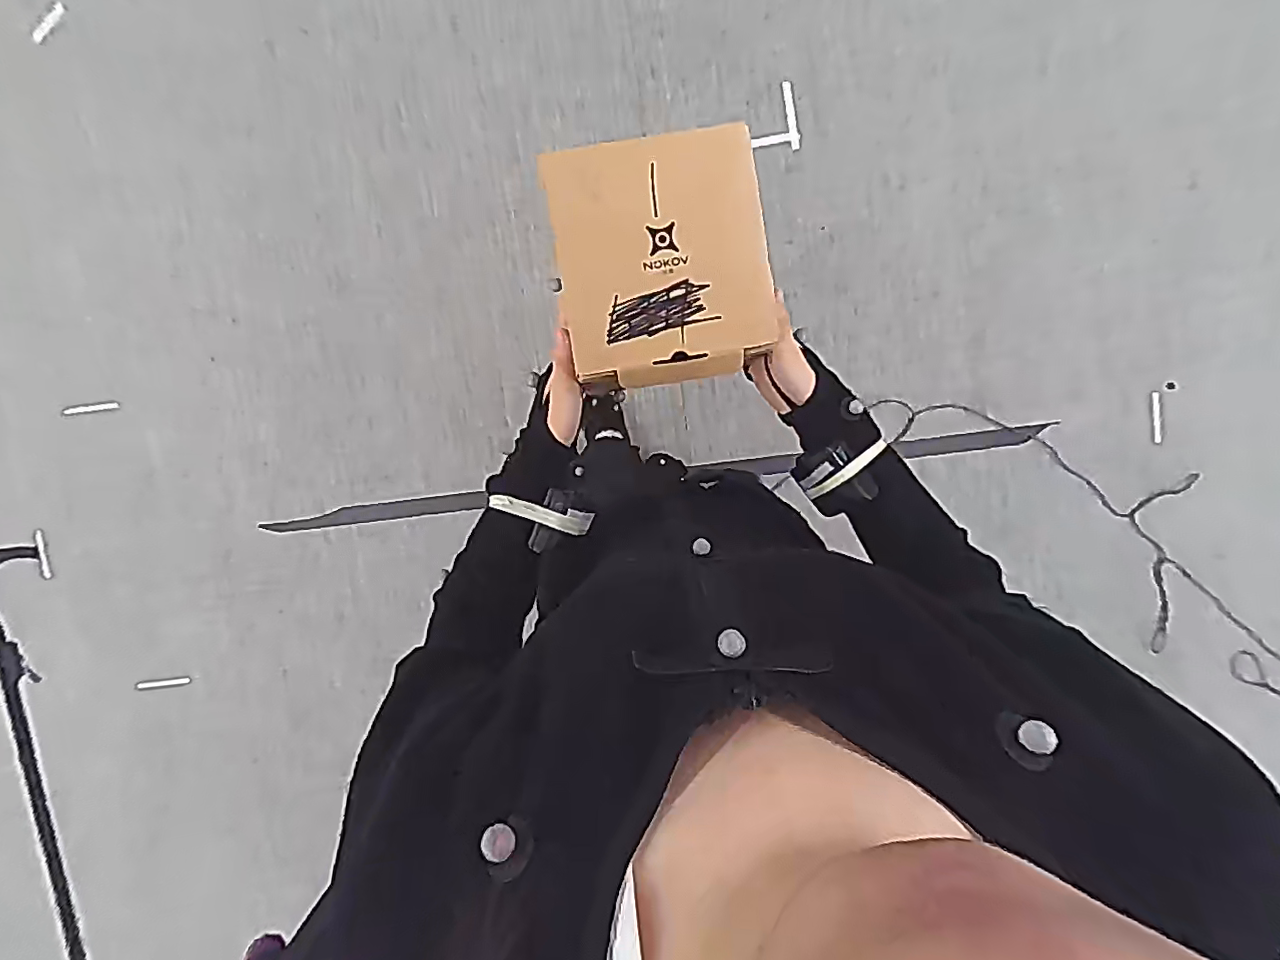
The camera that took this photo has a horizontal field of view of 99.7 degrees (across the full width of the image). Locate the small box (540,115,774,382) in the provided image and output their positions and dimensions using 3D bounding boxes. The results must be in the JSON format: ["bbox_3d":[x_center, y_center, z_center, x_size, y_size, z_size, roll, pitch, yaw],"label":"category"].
[{"bbox_3d":[0.014,-0.190,0.500,0.168,0.176,0.179,-9,94,-1],"label":"small box"}]
